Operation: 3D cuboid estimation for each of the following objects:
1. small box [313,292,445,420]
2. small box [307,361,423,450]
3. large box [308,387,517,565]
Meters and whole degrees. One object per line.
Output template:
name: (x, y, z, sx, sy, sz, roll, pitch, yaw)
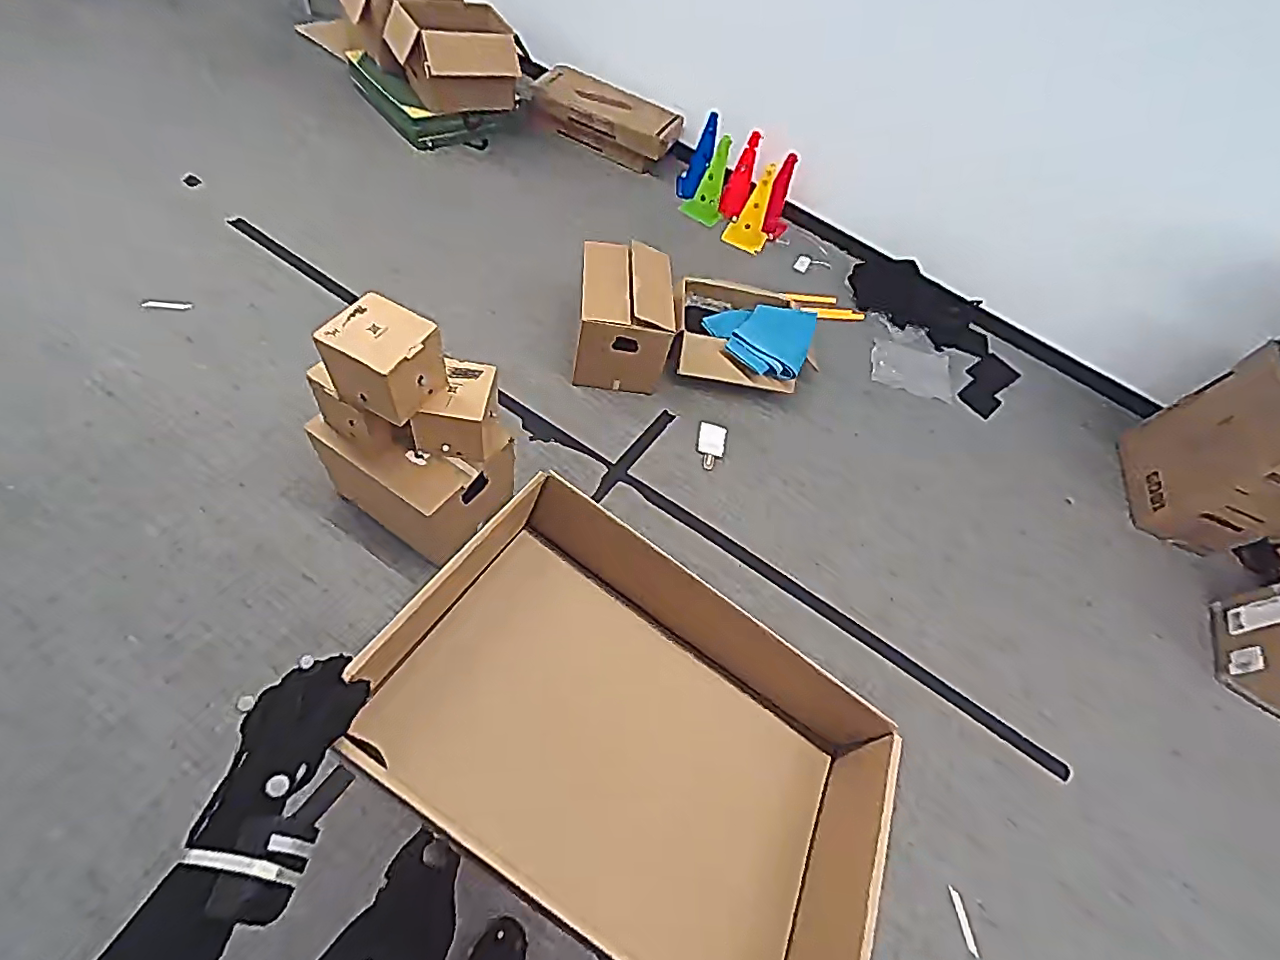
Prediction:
small box: (-0.537, -0.254, 1.145, 0.179, 0.176, 0.168, 28, 57, 6)
small box: (-0.640, -0.204, 1.288, 0.168, 0.176, 0.179, 33, 56, 6)
large box: (-0.597, -0.040, 1.487, 0.408, 0.320, 0.320, 33, 58, 7)
